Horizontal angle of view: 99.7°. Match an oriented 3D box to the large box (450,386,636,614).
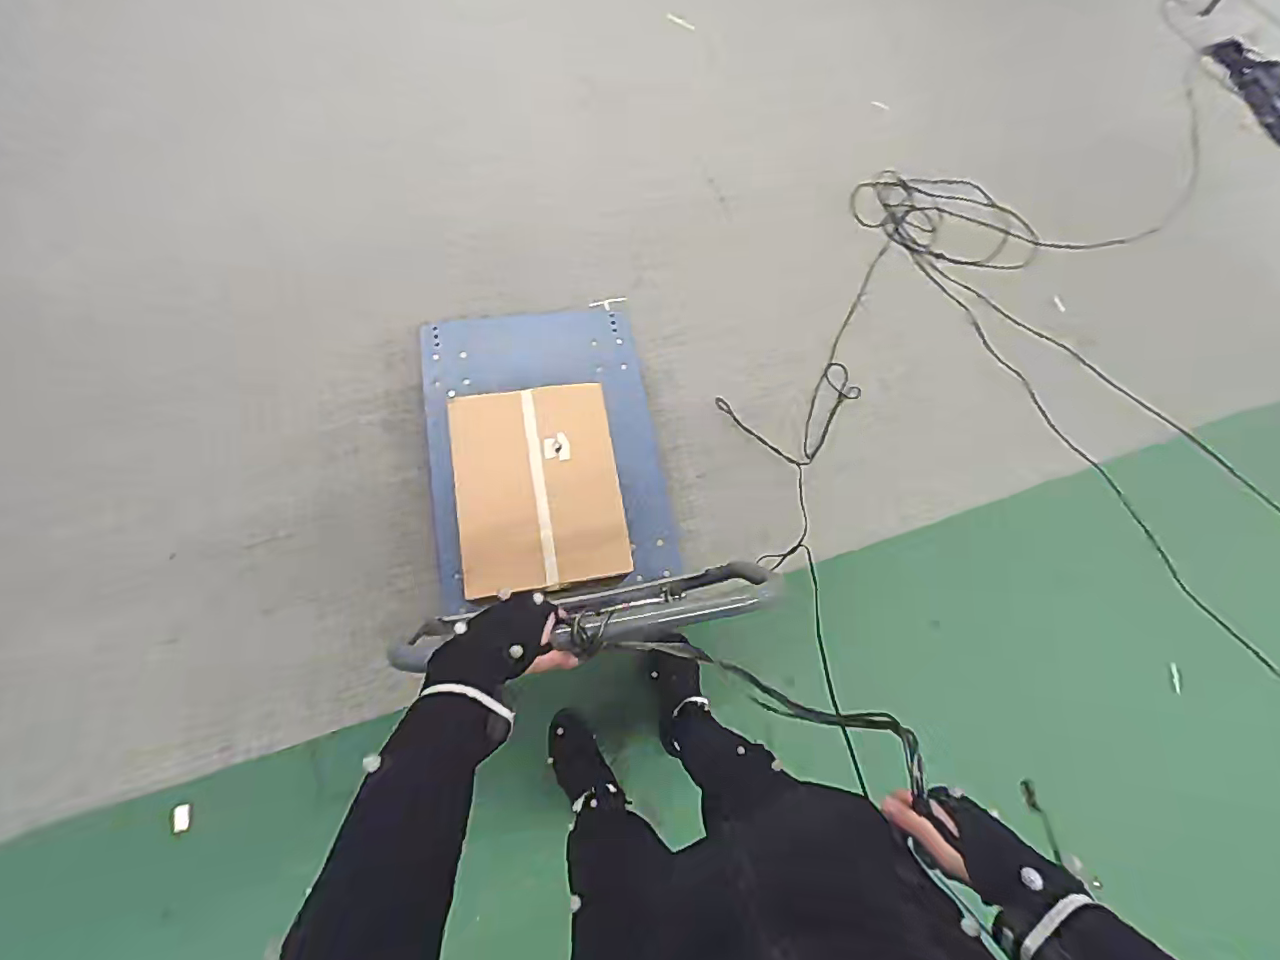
[{"bbox_3d":[-0.212,0.057,1.196,0.320,0.320,0.408,-8,73,-11],"label":"large box"}]
